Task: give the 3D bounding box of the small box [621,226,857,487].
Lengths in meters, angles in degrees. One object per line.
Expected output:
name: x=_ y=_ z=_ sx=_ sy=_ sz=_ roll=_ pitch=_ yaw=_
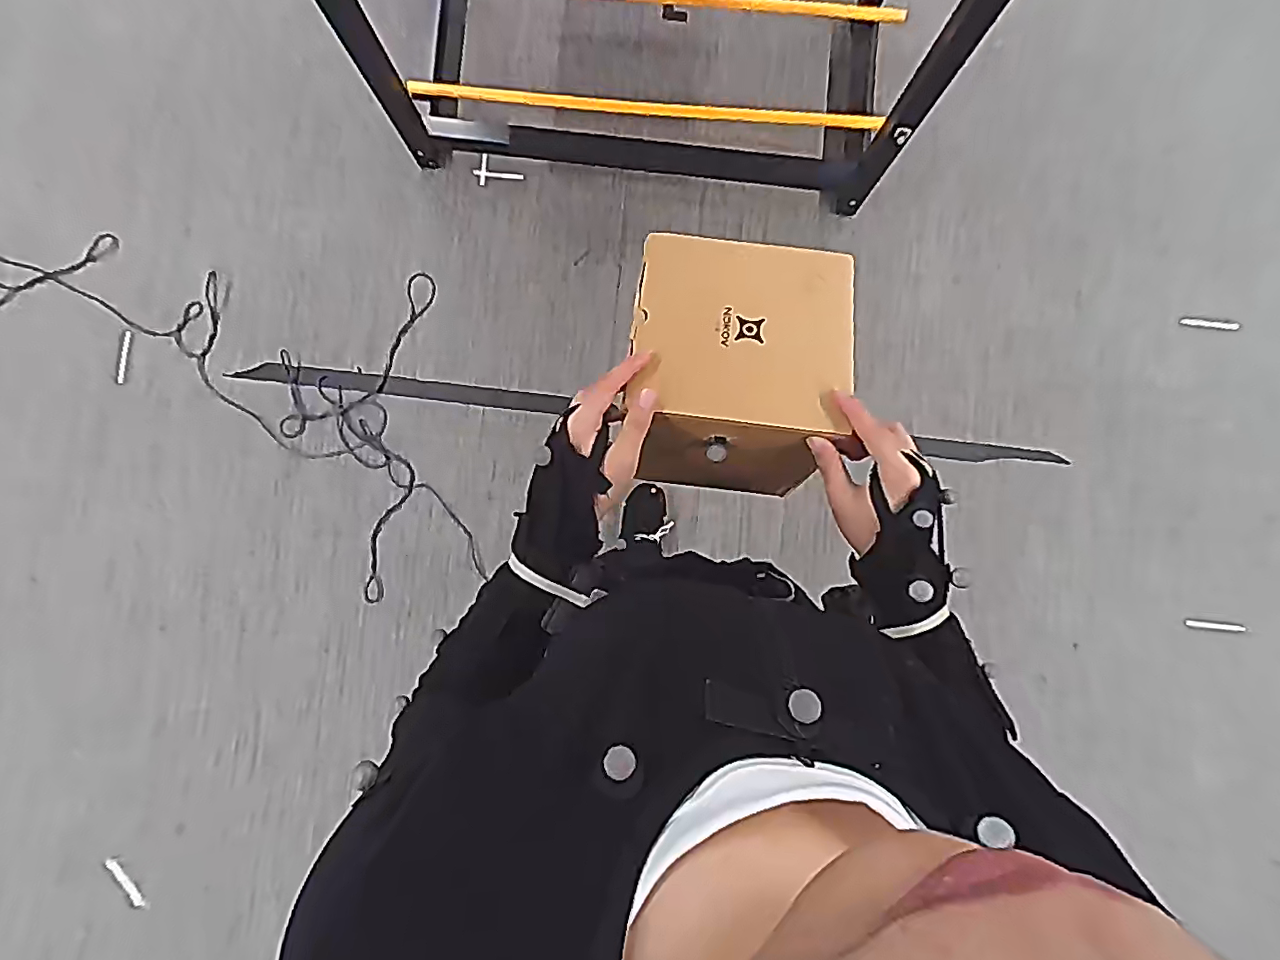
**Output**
small box: x=0.080 y=-0.098 z=0.497 sx=0.179 sy=0.176 sz=0.168 roll=7 pitch=73 yaw=1
